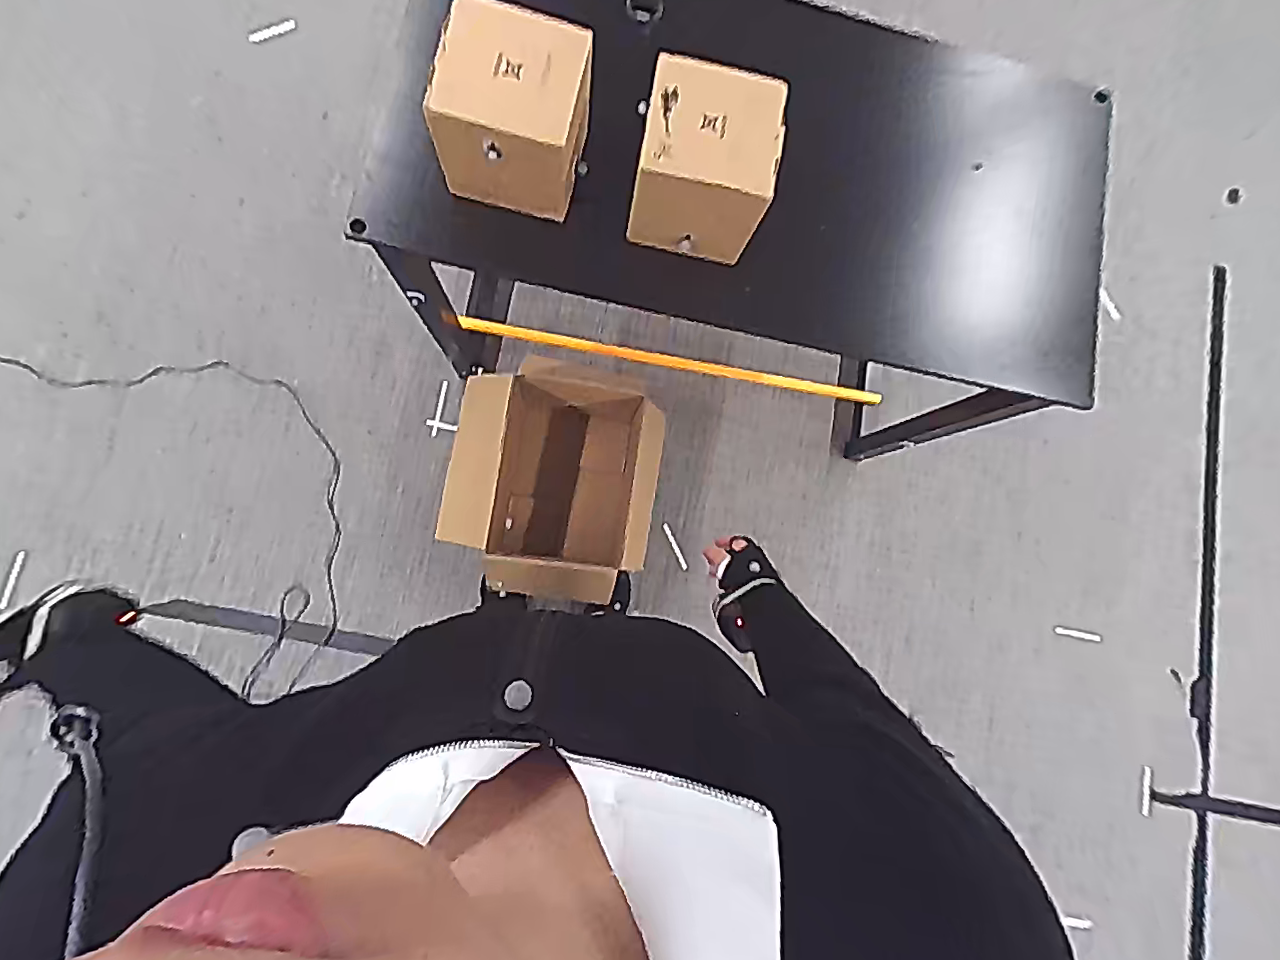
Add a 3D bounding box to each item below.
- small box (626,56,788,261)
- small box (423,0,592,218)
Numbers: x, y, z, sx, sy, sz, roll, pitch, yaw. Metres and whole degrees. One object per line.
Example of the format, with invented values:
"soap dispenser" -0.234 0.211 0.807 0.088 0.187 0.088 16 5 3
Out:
"small box" 0.086 -0.438 0.768 0.179 0.176 0.168 10 82 -7
"small box" -0.171 -0.493 0.740 0.179 0.176 0.168 12 83 -7
